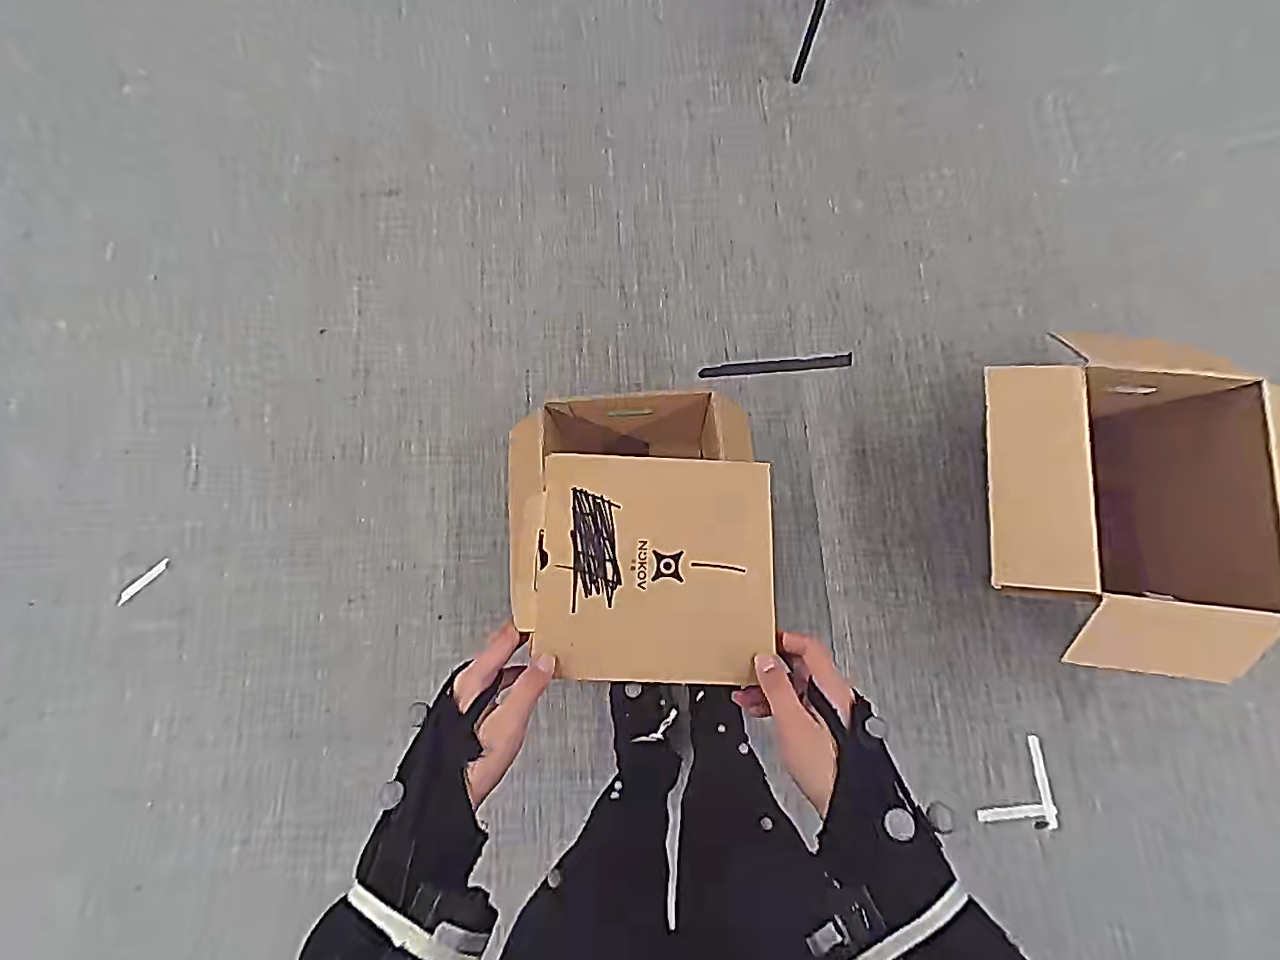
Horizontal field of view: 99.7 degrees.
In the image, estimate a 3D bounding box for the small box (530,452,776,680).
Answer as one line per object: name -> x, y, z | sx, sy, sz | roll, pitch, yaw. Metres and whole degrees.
small box -> 0.010, 0.082, 0.476 | 0.179, 0.176, 0.168 | 2, 74, -2
